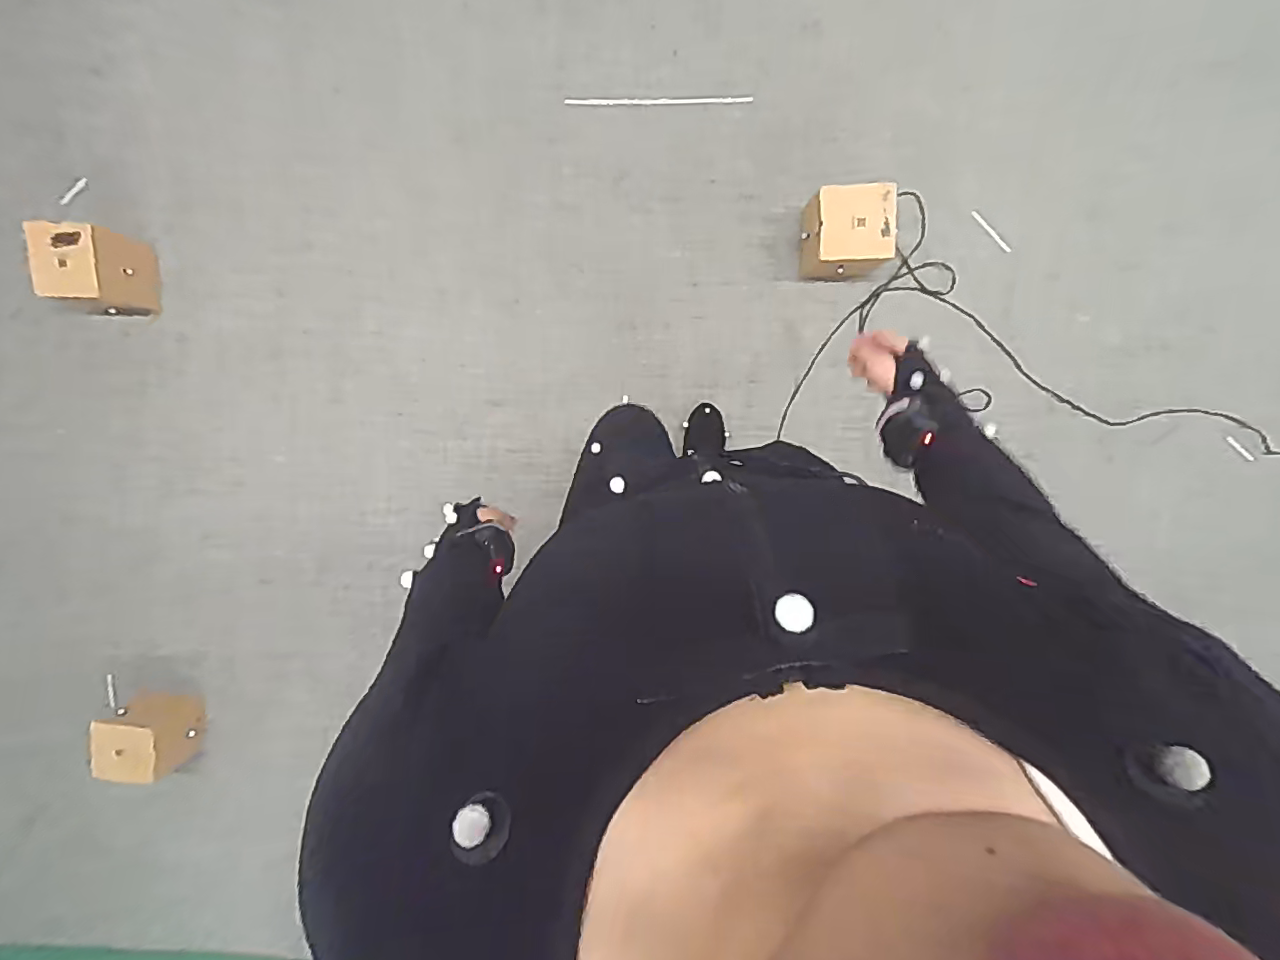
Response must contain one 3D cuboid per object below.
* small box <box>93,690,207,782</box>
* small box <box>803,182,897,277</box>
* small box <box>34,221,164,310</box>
[{"bbox_3d":[-1.386,0.718,1.535,0.179,0.176,0.168,7,98,1],"label":"small box"},{"bbox_3d":[0.498,-0.597,1.307,0.179,0.176,0.168,-1,97,3],"label":"small box"},{"bbox_3d":[-1.376,-0.544,1.387,0.168,0.176,0.179,2,98,2],"label":"small box"}]
